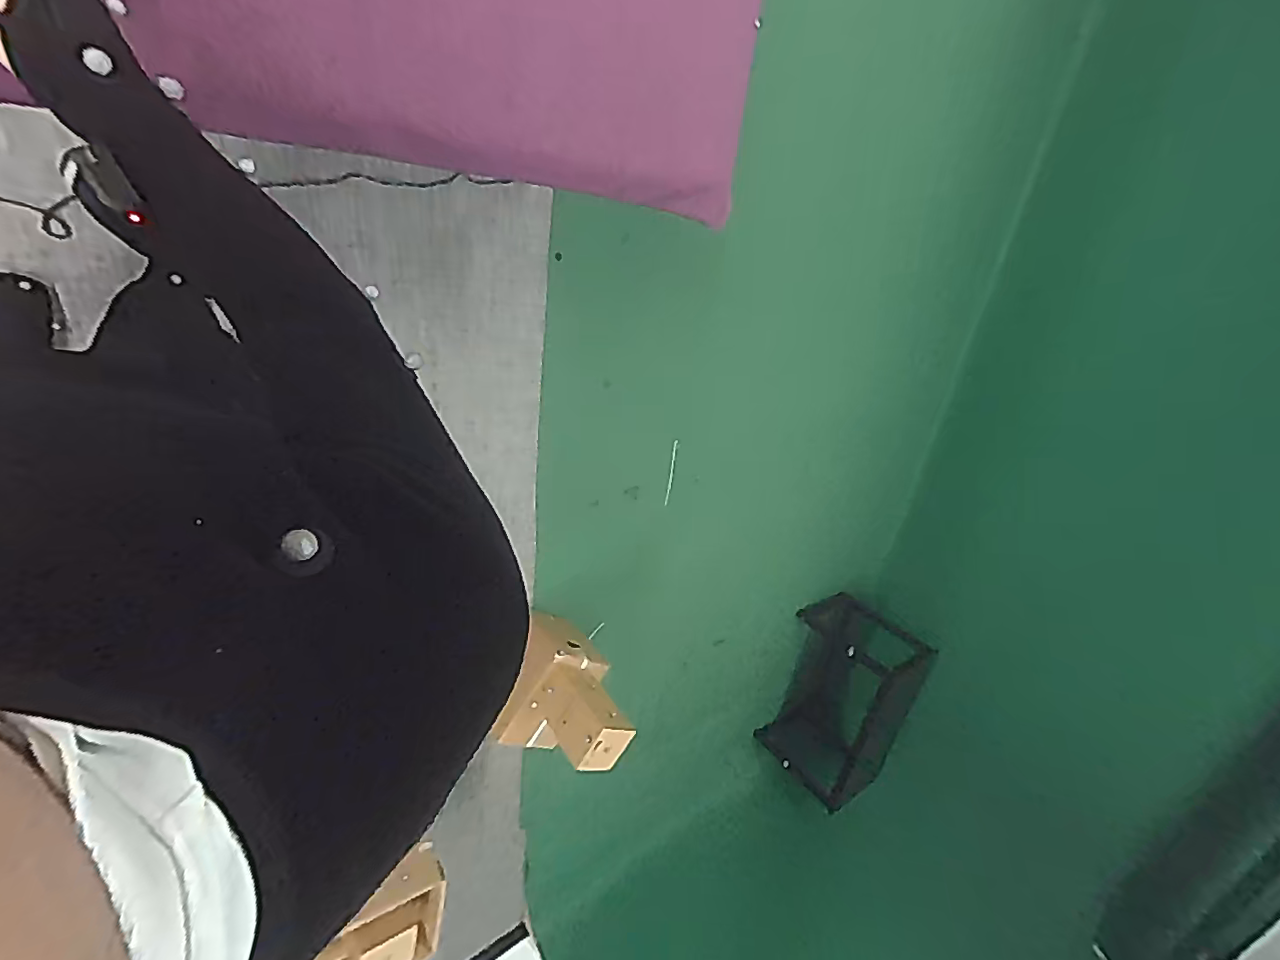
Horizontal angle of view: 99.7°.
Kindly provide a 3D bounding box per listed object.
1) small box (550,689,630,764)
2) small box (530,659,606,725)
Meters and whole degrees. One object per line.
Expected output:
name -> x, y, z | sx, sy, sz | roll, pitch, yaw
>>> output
small box -> -0.173, 0.841, 1.853 | 0.179, 0.176, 0.168 | 33, 92, -46
small box -> -0.264, 0.778, 1.974 | 0.179, 0.176, 0.168 | 34, 91, -45
